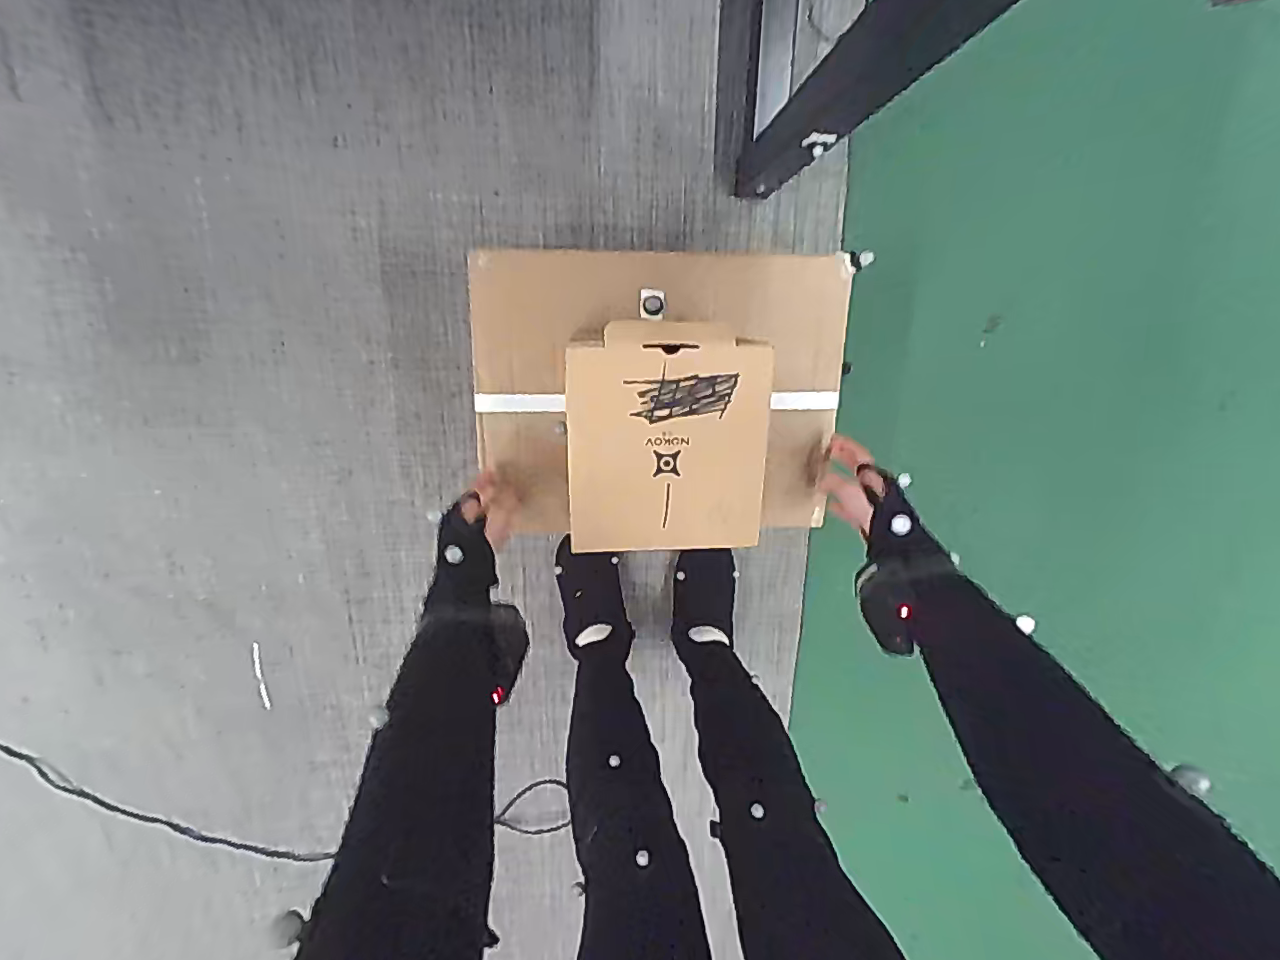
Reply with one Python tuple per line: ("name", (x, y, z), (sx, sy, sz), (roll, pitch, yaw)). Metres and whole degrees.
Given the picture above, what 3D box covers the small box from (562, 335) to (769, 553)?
("small box", (0.012, -0.045, 0.514), (0.168, 0.176, 0.179), (-1, 108, -4))
